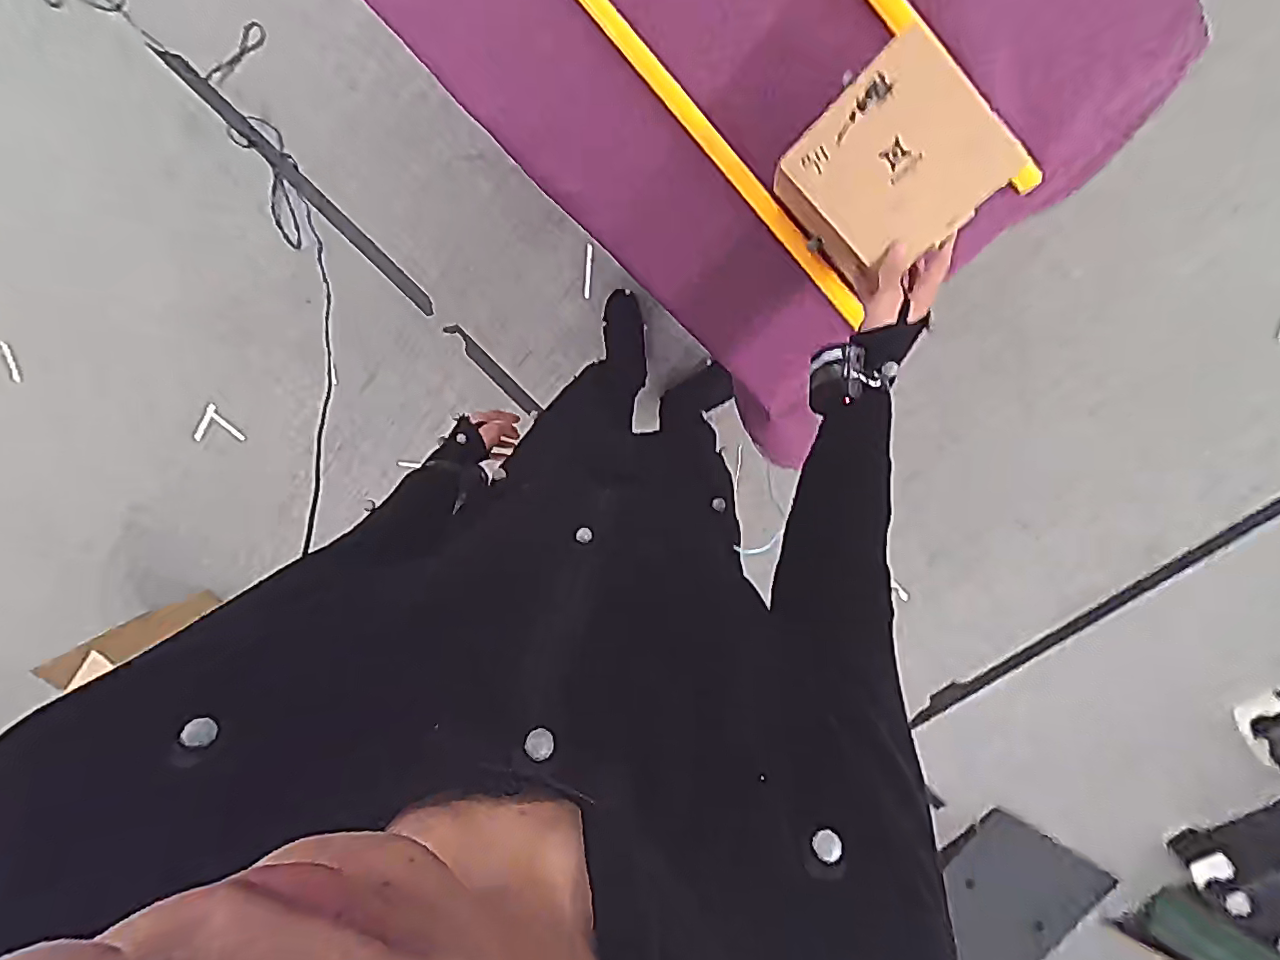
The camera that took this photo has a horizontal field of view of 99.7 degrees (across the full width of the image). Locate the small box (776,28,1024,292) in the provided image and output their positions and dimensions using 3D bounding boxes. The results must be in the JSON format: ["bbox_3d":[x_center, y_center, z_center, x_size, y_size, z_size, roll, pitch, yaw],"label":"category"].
[{"bbox_3d":[0.274,-0.339,0.614,0.168,0.176,0.179,-41,97,21],"label":"small box"}]
